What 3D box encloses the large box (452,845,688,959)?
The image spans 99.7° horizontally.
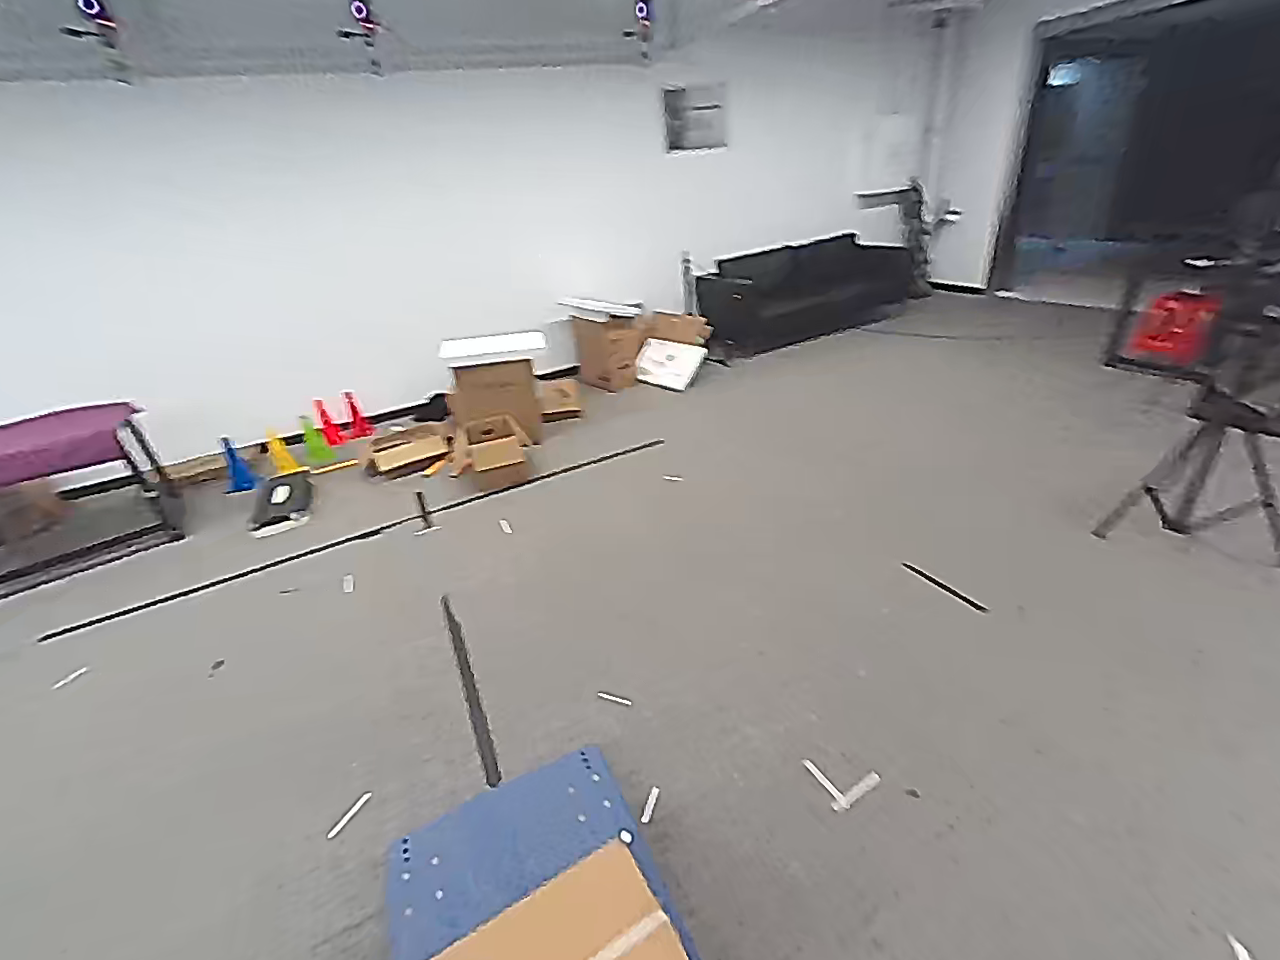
[{"bbox_3d":[-0.110,0.942,0.898,0.408,0.320,0.320,-19,31,-24],"label":"large box"}]
